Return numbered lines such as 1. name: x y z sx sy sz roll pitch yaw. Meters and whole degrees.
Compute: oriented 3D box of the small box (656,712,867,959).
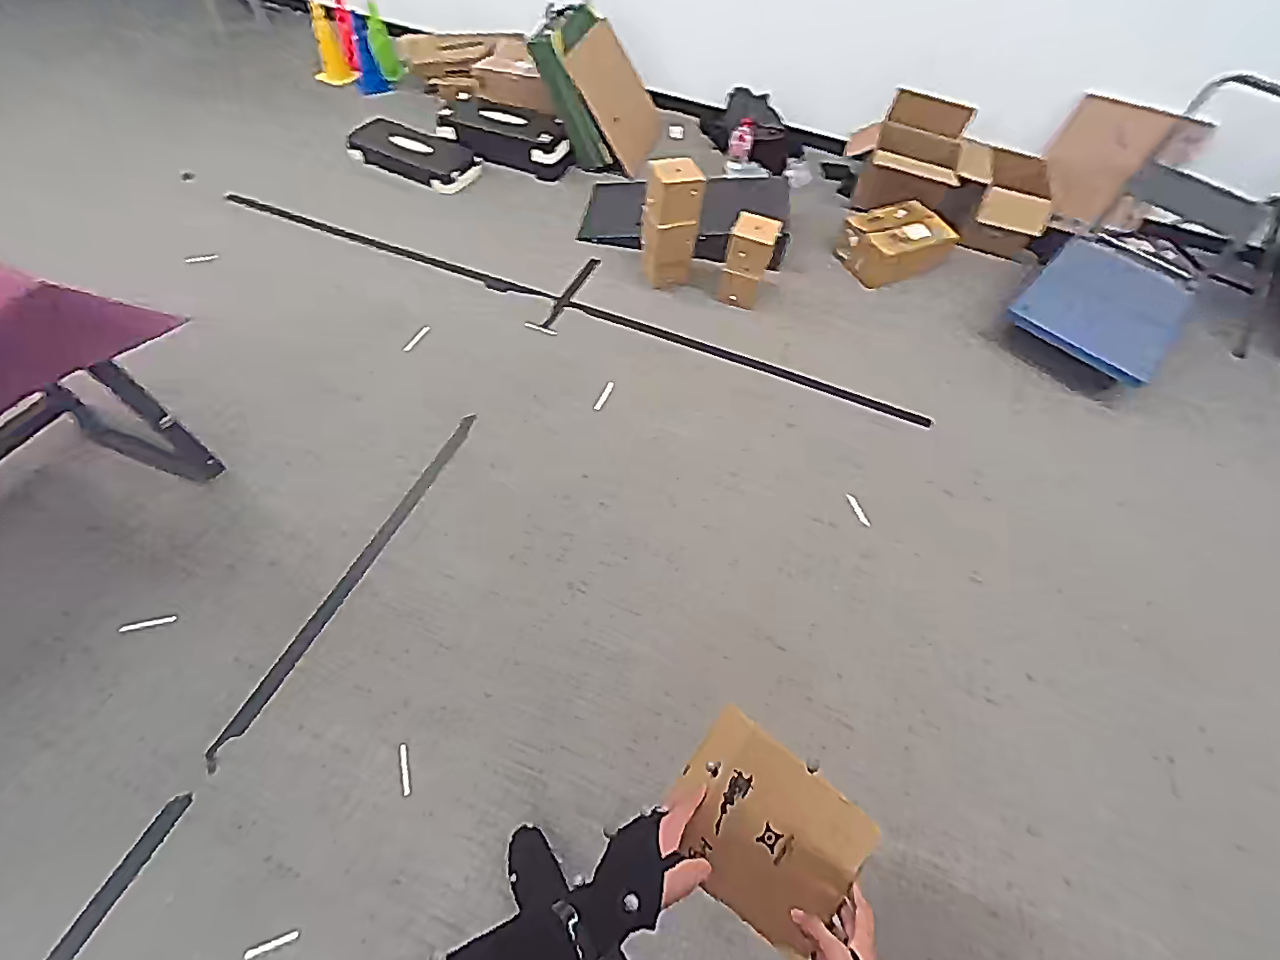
1. small box: 0.136 0.418 0.673 0.179 0.176 0.168 37 79 7
